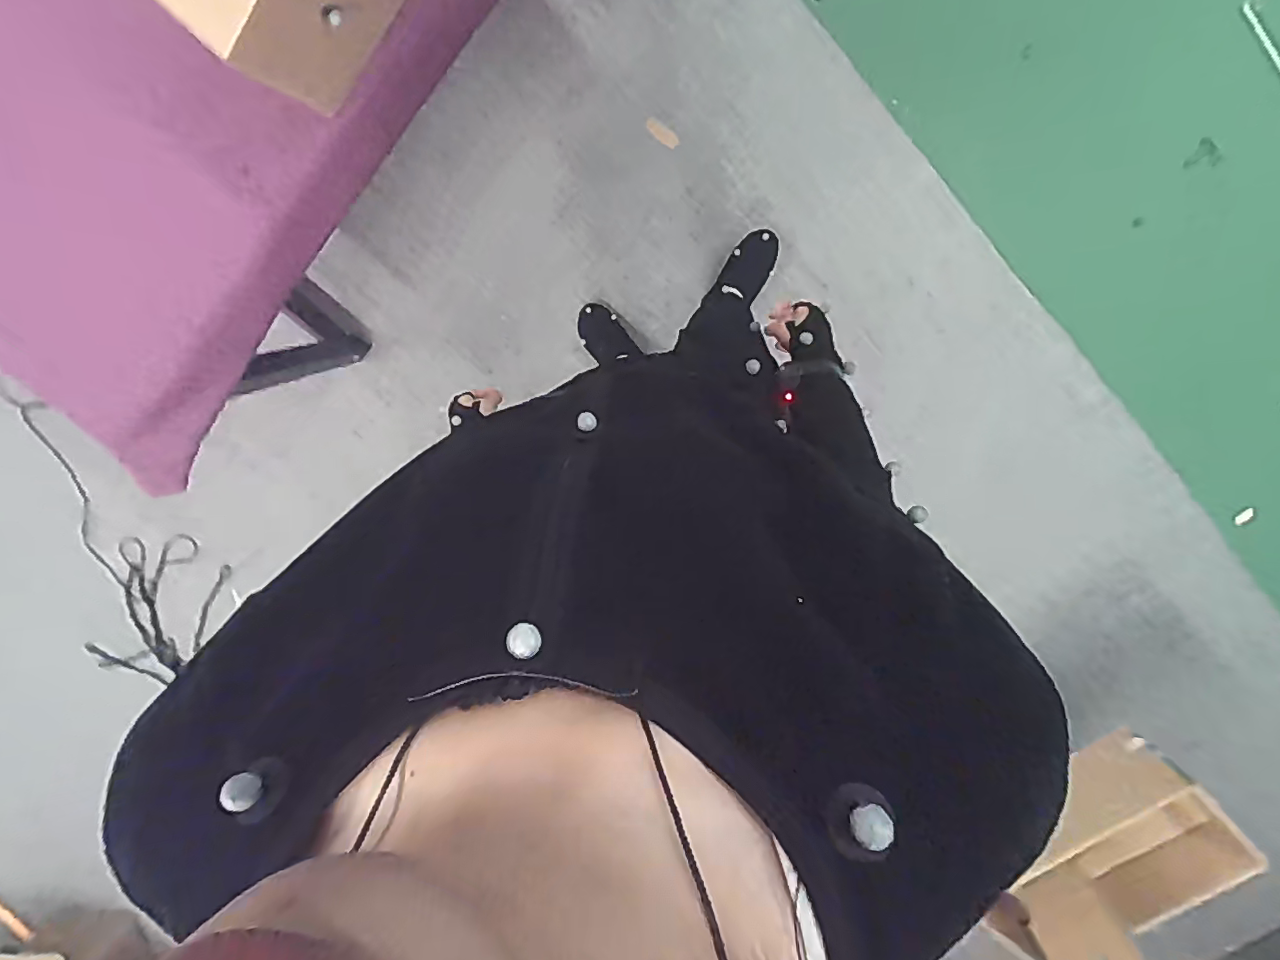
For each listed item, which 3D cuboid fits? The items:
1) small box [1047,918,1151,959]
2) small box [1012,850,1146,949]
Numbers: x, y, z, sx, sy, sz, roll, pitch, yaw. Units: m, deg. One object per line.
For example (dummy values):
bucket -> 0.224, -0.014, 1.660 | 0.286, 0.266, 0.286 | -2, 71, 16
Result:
small box -> 1.084, 1.143, 1.218 | 0.179, 0.176, 0.168 | -41, 103, 14
small box -> 1.099, 1.082, 1.370 | 0.168, 0.176, 0.179 | -40, 104, 13
